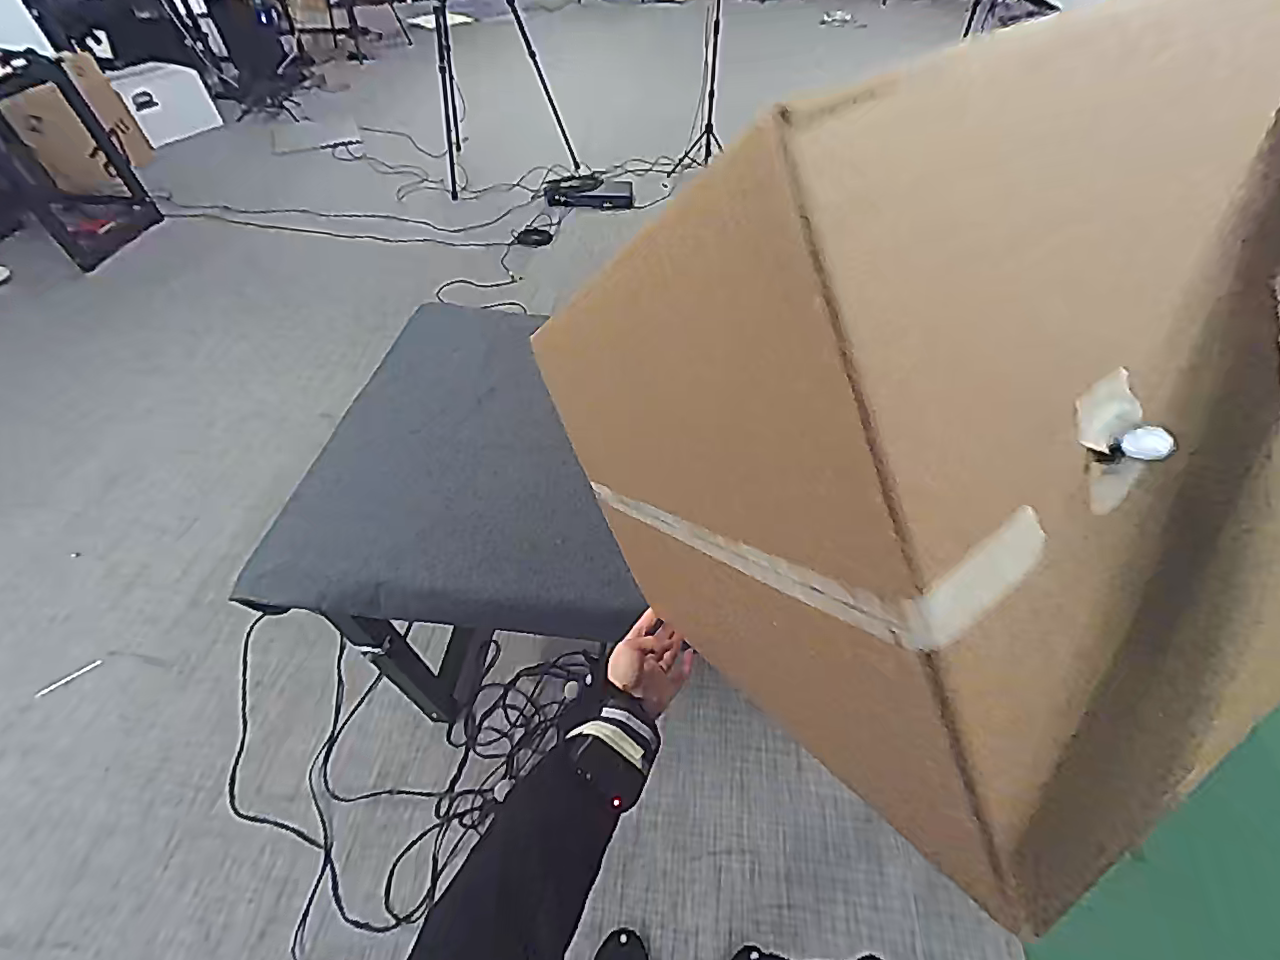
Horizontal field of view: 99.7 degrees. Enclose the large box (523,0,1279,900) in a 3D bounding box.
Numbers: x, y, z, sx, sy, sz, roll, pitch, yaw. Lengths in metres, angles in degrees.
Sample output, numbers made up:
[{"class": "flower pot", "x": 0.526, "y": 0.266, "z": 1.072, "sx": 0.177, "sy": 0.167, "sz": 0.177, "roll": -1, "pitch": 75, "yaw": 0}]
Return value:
[{"class": "large box", "x": 0.148, "y": -0.041, "z": 0.403, "sx": 0.320, "sy": 0.320, "sz": 0.408, "roll": -29, "pitch": 16, "yaw": -17}]
